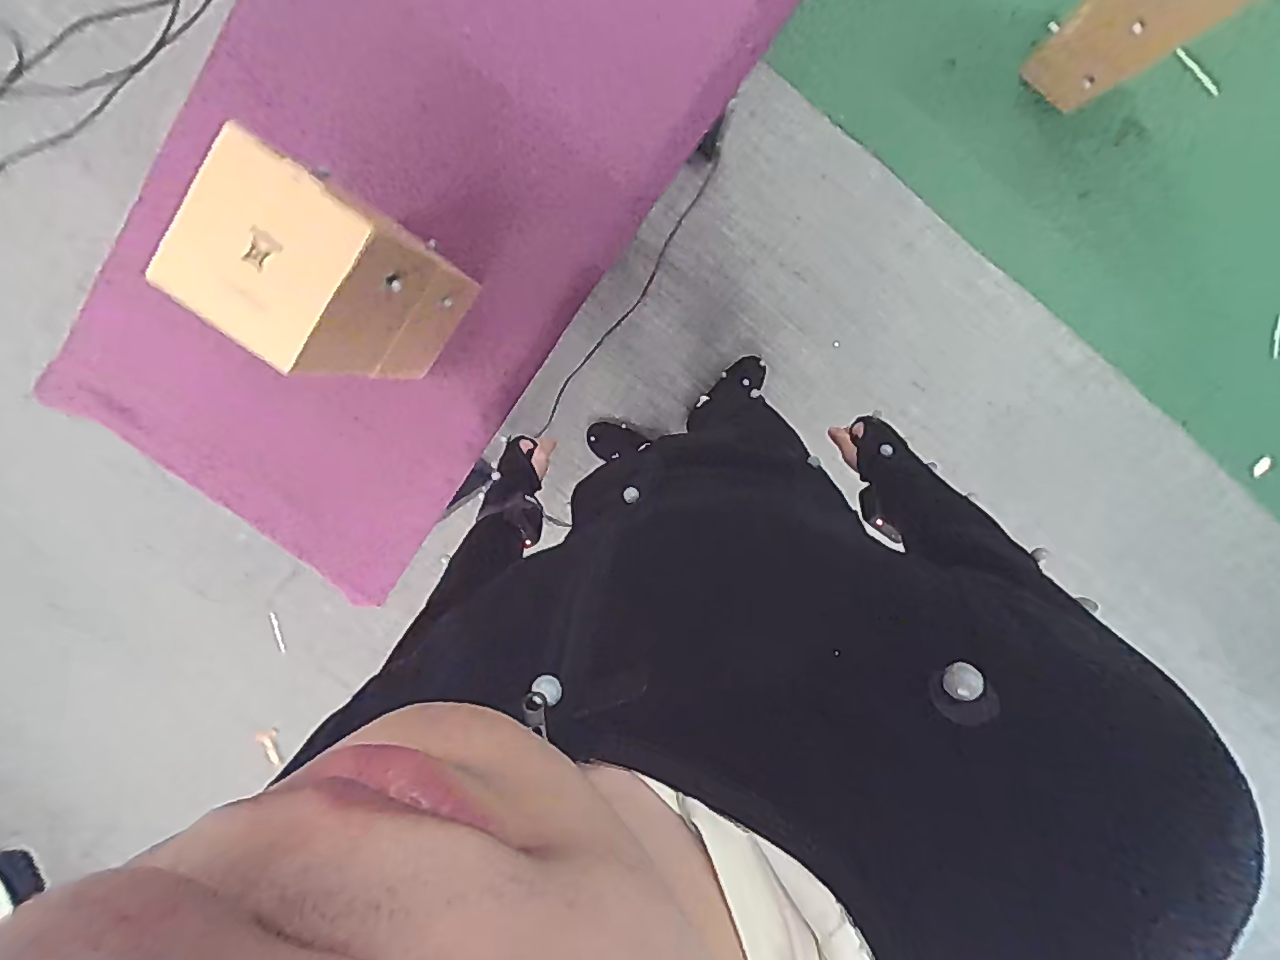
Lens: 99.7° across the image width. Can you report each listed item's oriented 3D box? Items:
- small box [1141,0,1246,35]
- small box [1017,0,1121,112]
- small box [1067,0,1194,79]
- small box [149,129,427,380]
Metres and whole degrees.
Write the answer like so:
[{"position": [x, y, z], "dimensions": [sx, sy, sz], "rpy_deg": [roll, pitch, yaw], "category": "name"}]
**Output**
[{"position": [1.085, -0.988, 0.998], "dimensions": [0.179, 0.176, 0.168], "rpy_deg": [33, 100, -5], "category": "small box"}, {"position": [1.088, -1.046, 1.319], "dimensions": [0.179, 0.176, 0.168], "rpy_deg": [37, 99, -5], "category": "small box"}, {"position": [1.090, -1.014, 1.160], "dimensions": [0.179, 0.176, 0.168], "rpy_deg": [34, 100, -4], "category": "small box"}, {"position": [-0.368, -0.230, 0.605], "dimensions": [0.168, 0.176, 0.179], "rpy_deg": [36, 99, -5], "category": "small box"}]
